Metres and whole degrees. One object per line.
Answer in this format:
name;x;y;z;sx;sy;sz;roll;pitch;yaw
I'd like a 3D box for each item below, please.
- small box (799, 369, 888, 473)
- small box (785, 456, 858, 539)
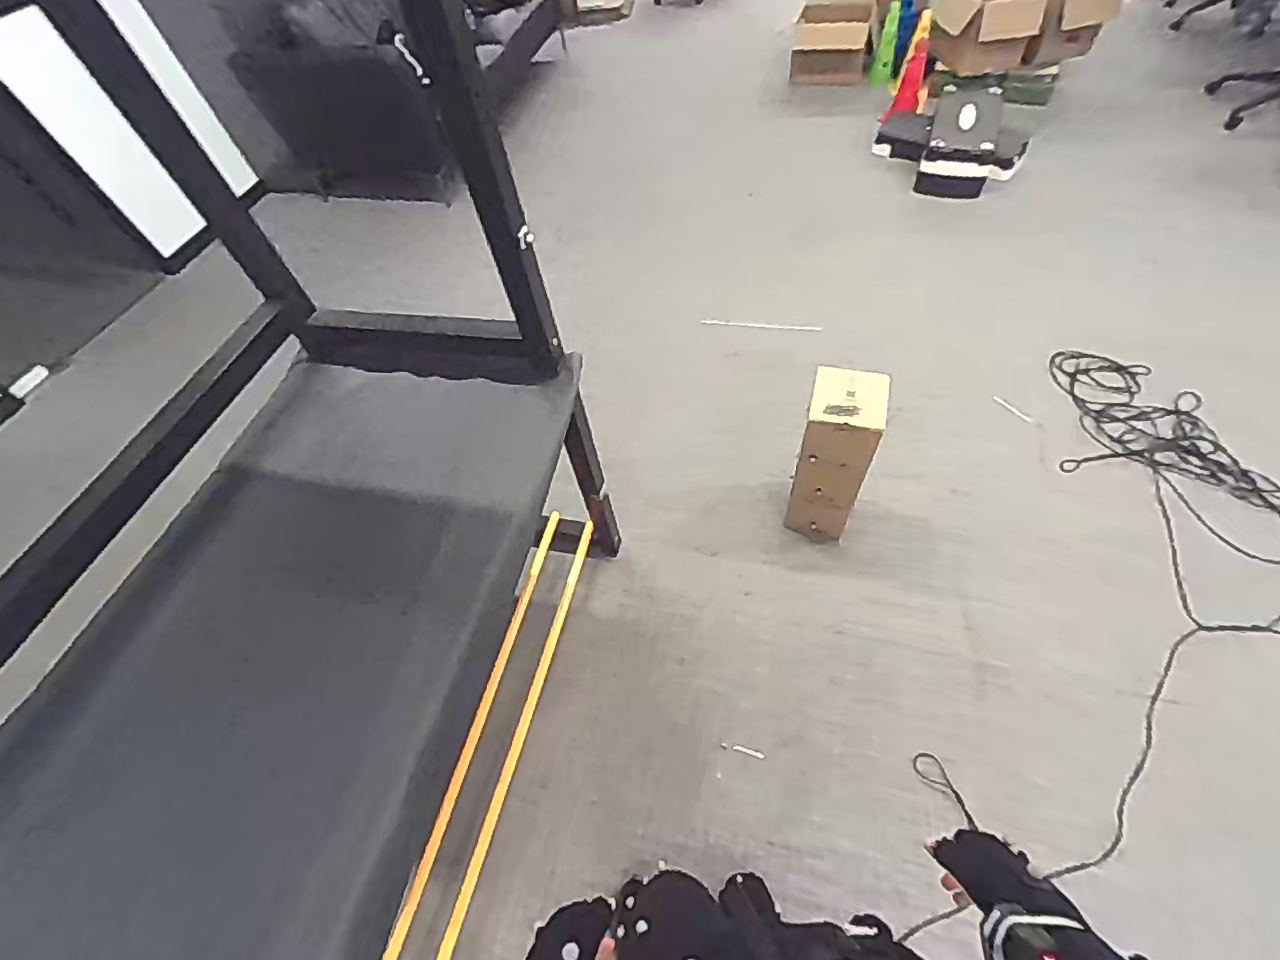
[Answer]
small box;0.490;-0.140;1.316;0.168;0.176;0.179;12;58;15
small box;0.528;0.046;1.581;0.168;0.176;0.179;13;58;17
